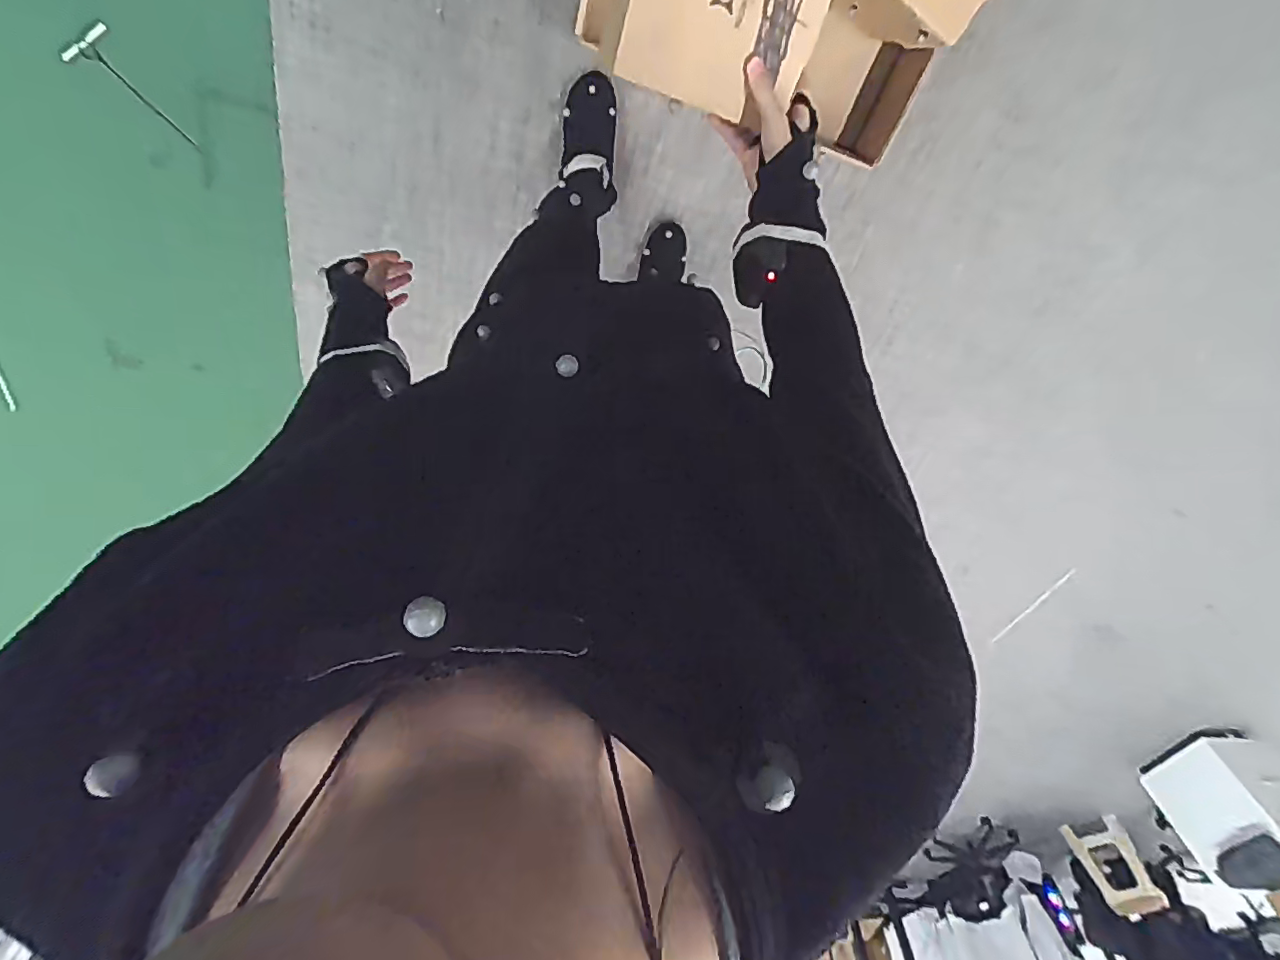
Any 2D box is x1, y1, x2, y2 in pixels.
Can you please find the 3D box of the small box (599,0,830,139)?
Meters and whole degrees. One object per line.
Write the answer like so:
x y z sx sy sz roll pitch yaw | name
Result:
0.067 -0.468 0.525 0.179 0.176 0.168 11 129 -17 | small box

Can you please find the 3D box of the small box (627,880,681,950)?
0.047 1.595 1.982 0.168 0.176 0.179 8 128 -7 | small box

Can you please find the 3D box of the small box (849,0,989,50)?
0.419 -0.763 0.784 0.179 0.176 0.168 23 125 -19 | small box
